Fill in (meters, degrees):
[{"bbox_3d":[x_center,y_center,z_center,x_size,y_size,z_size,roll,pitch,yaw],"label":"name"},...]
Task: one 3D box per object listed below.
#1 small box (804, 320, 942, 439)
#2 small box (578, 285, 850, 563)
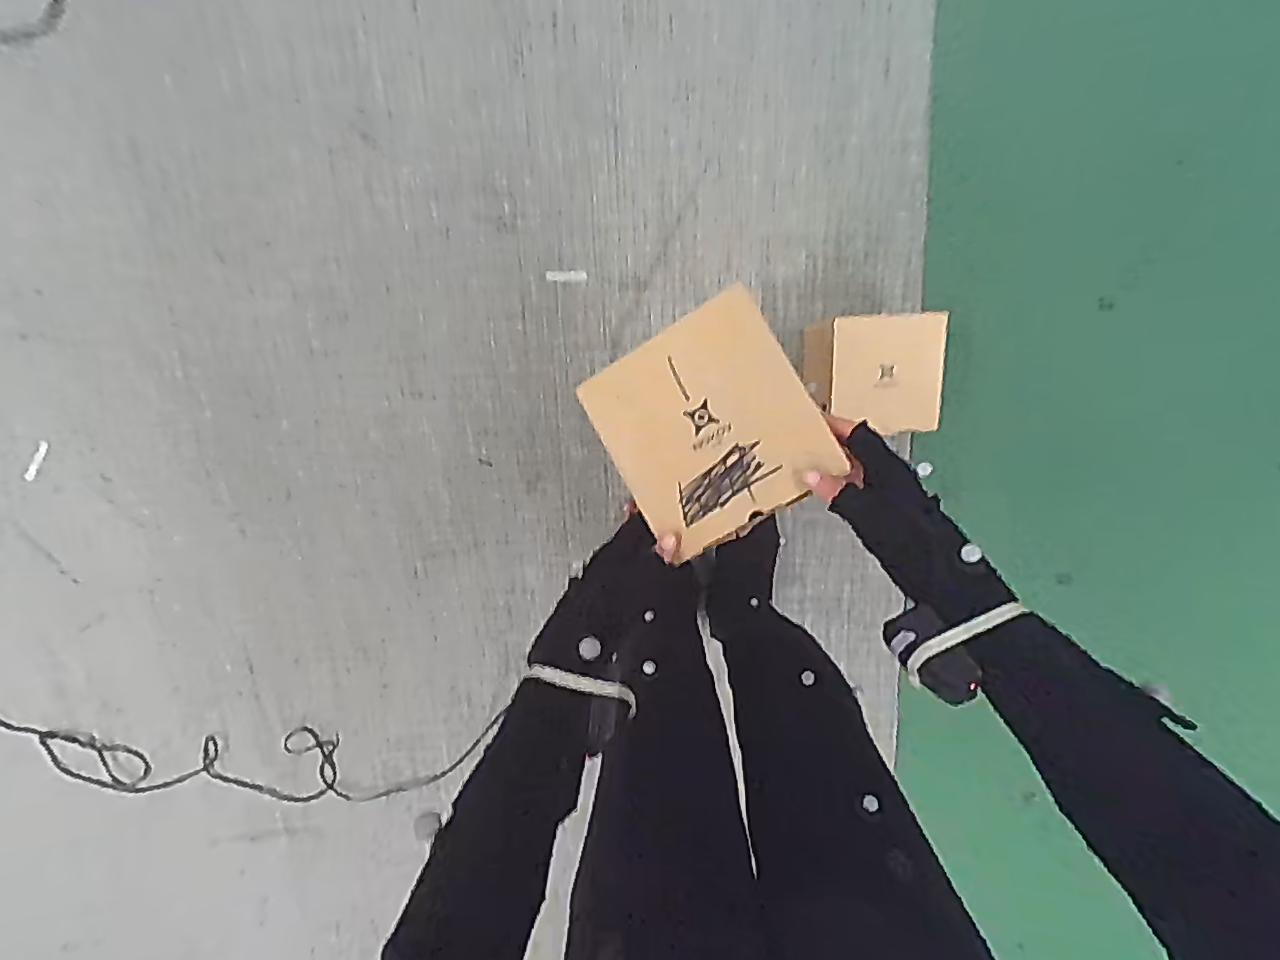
[{"bbox_3d":[0.374,-0.164,0.900,0.168,0.176,0.179,-2,101,3],"label":"small box"},{"bbox_3d":[0.075,-0.047,0.515,0.168,0.176,0.179,-31,84,14],"label":"small box"}]
